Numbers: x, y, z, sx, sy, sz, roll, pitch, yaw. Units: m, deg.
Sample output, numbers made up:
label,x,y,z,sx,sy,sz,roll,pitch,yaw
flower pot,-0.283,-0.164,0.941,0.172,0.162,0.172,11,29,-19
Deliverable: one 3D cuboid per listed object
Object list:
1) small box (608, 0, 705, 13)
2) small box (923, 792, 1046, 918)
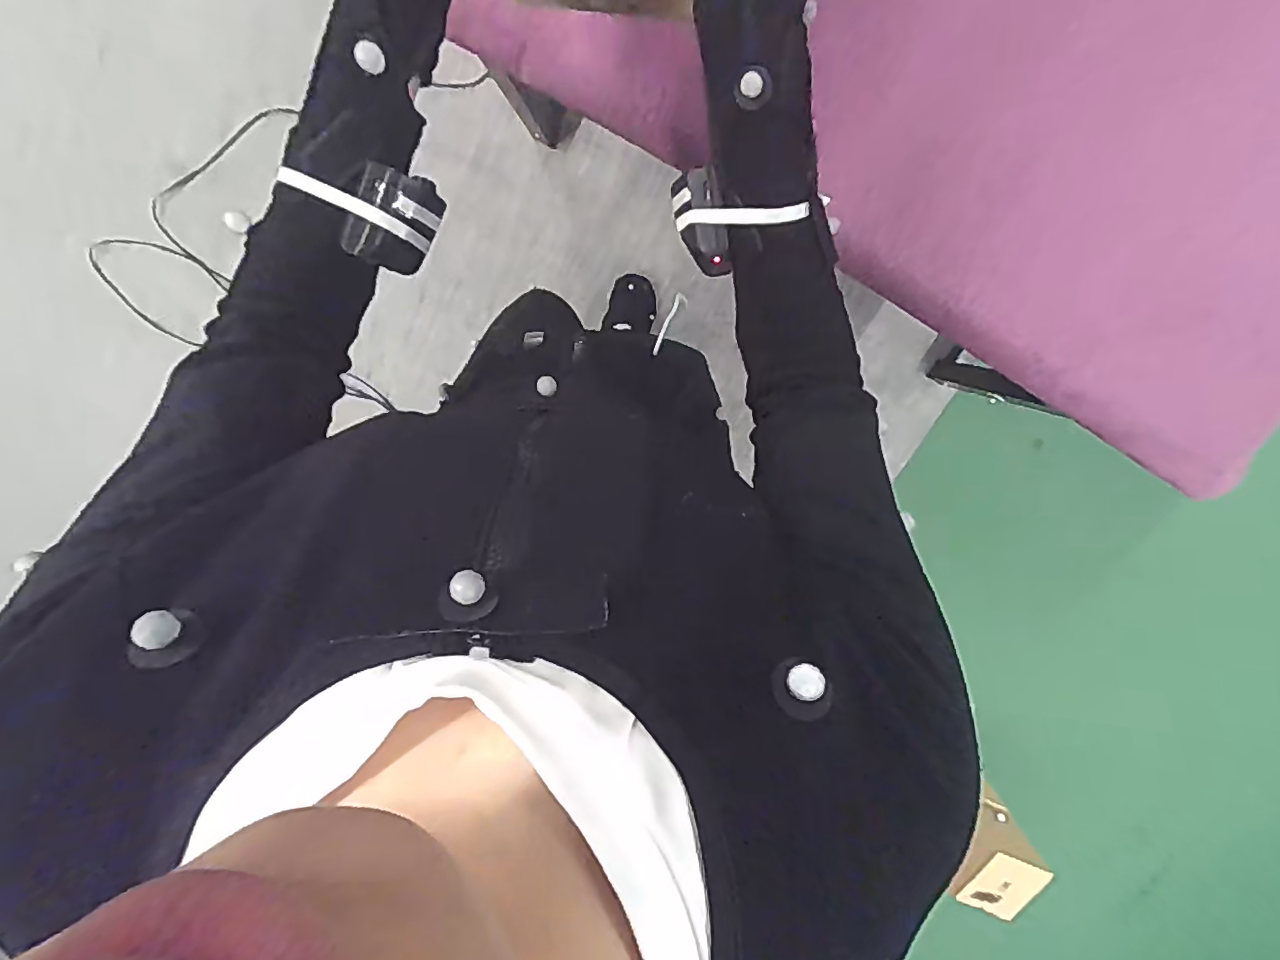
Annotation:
label,x,y,z,sx,sy,sz,roll,pitch,yaw
small box,-0.015,-0.461,0.357,0.168,0.176,0.179,6,112,-1
small box,0.852,0.940,1.364,0.168,0.176,0.179,26,107,-7
